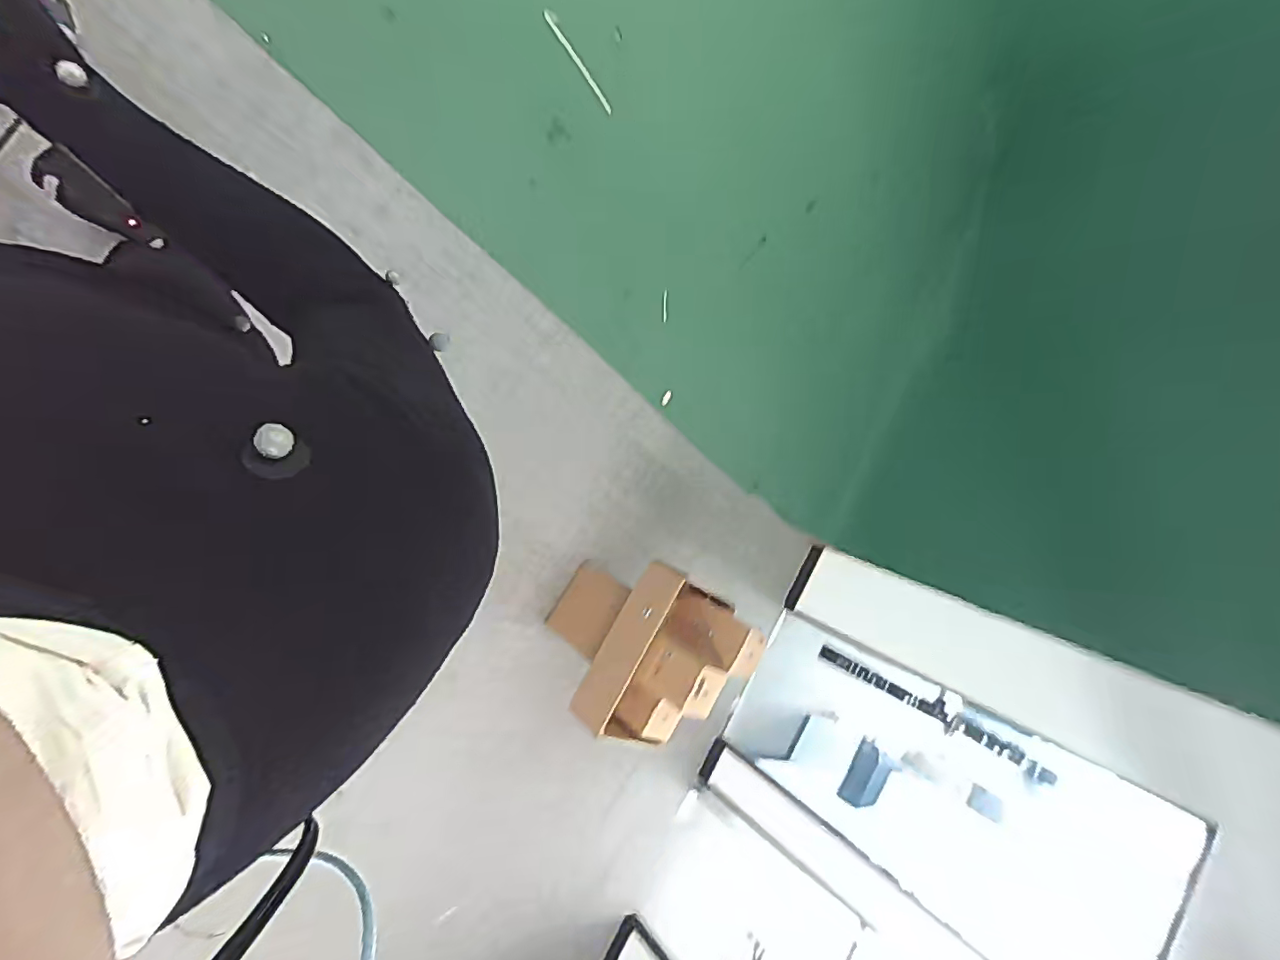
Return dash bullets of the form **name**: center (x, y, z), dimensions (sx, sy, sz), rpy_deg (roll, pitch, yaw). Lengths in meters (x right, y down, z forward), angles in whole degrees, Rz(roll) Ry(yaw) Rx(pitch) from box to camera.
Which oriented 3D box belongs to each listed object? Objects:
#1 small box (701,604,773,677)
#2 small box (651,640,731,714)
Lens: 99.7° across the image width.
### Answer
- **small box**: center (0.343, 0.577, 1.949), dimensions (0.168, 0.176, 0.179), rpy_deg (37, 81, -44)
- **small box**: center (0.169, 0.659, 1.816), dimensions (0.179, 0.176, 0.168), rpy_deg (35, 82, -46)
